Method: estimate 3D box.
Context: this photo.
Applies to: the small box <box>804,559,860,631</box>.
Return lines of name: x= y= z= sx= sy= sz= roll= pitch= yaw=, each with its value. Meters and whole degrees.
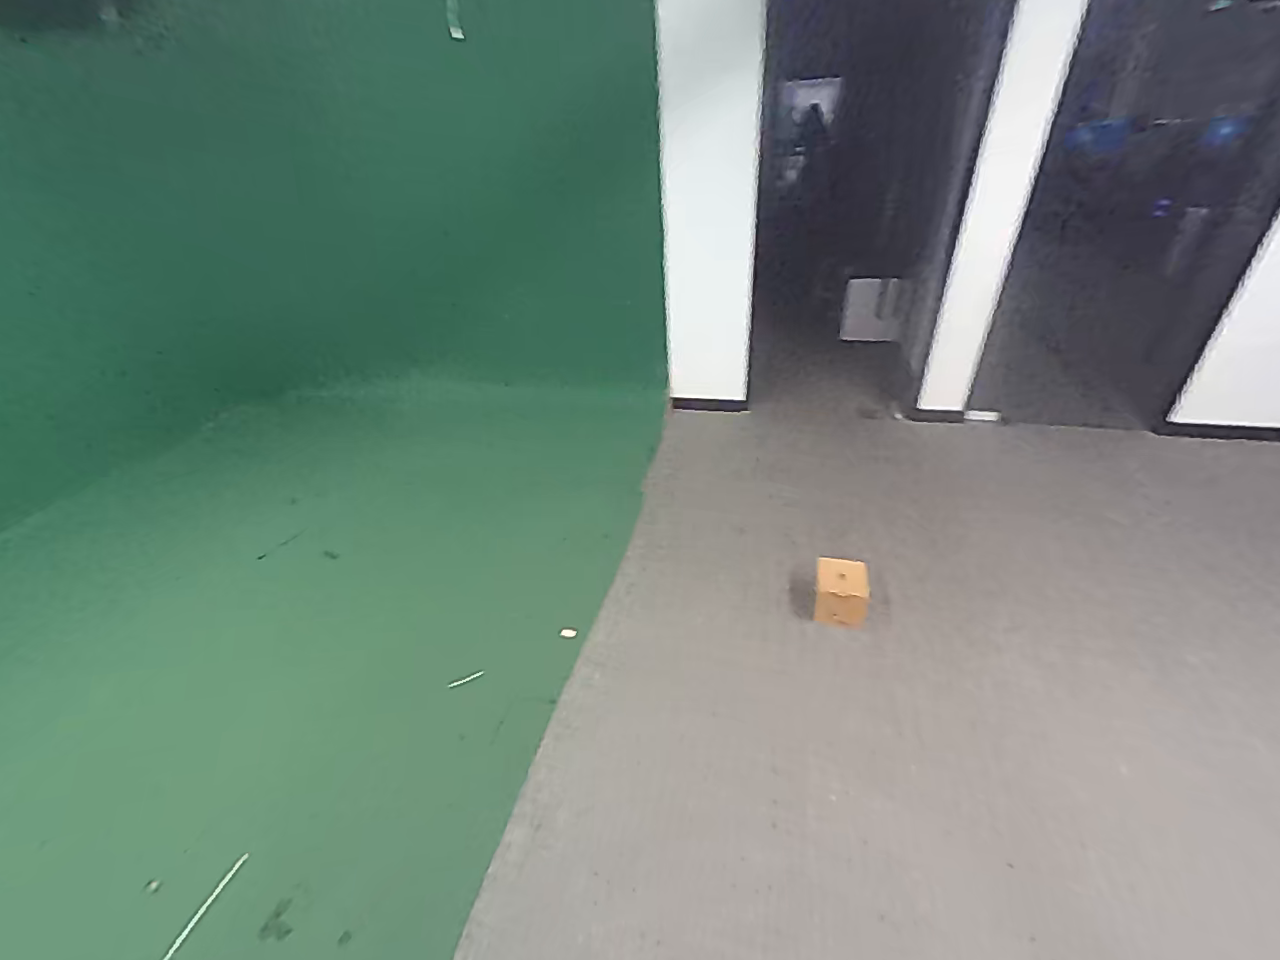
small box: x=0.692 y=0.417 z=1.965 sx=0.168 sy=0.176 sz=0.179 roll=6 pitch=35 yaw=13
